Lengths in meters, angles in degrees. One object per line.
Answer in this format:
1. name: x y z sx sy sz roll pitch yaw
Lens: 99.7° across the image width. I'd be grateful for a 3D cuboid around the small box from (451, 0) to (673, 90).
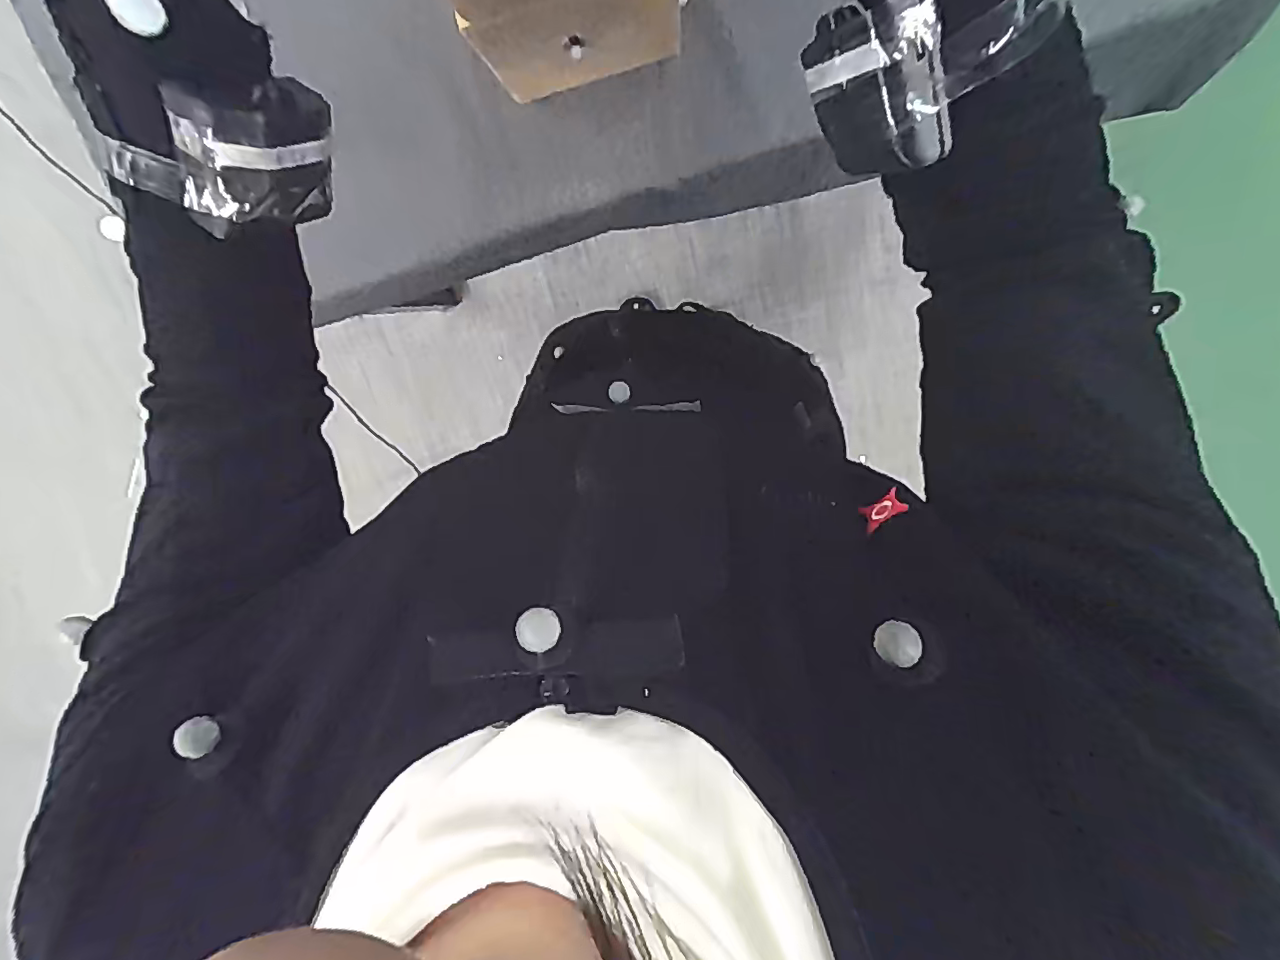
1. small box: -0.069 -0.468 0.453 0.179 0.176 0.168 -12 107 9
